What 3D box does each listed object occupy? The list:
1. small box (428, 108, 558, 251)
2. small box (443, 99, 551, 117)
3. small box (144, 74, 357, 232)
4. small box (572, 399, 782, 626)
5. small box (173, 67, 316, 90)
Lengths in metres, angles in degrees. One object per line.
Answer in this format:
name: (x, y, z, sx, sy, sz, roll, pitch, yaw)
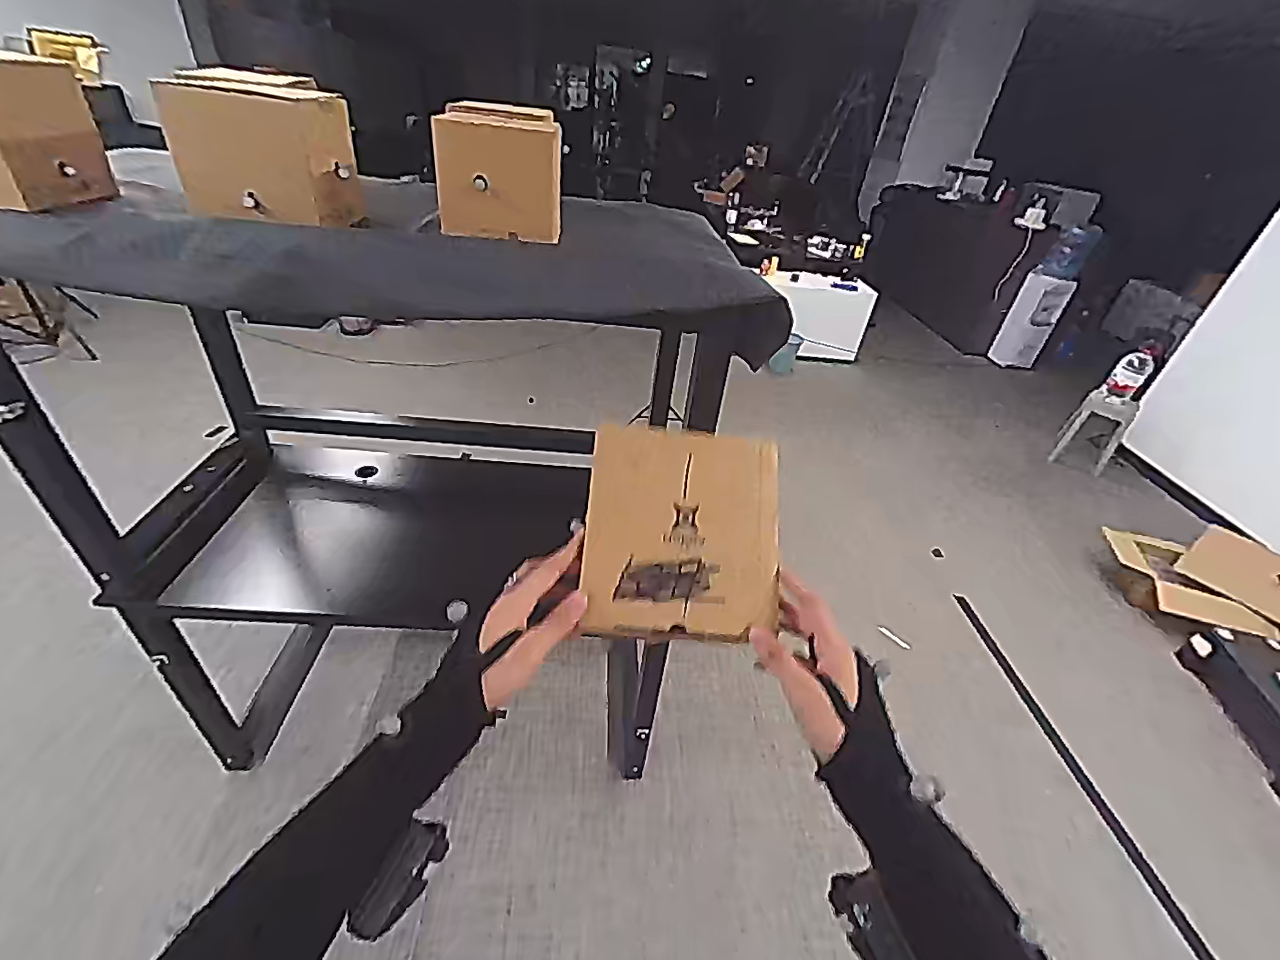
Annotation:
small box: (-0.213, -0.463, 0.834, 0.168, 0.176, 0.179, 2, 35, -7)
small box: (-0.269, -0.635, 1.059, 0.179, 0.176, 0.168, 3, 37, -5)
small box: (-0.532, -0.465, 0.776, 0.179, 0.176, 0.168, 4, 34, -7)
small box: (0.029, 0.043, 0.519, 0.168, 0.176, 0.179, 6, 72, -4)
small box: (-0.698, -0.646, 1.000, 0.168, 0.176, 0.179, -1, 37, -10)
